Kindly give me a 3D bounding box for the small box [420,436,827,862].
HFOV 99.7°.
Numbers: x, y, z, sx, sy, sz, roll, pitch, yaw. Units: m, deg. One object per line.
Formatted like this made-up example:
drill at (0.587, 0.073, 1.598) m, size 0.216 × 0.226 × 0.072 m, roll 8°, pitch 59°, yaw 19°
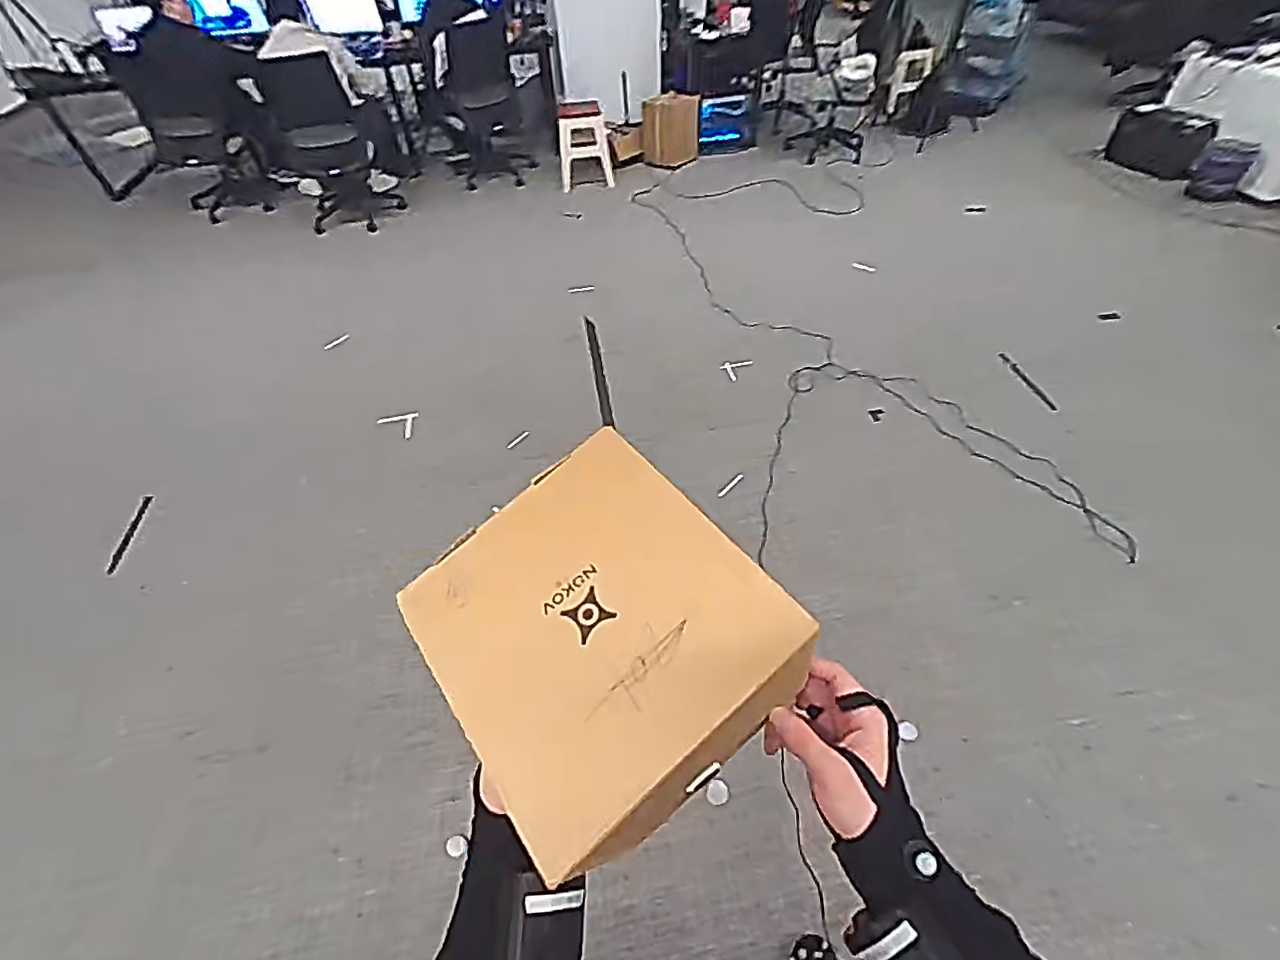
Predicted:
small box at (-0.004, 0.110, 0.363) m, size 0.168 × 0.176 × 0.179 m, roll -40°, pitch 60°, yaw -10°
